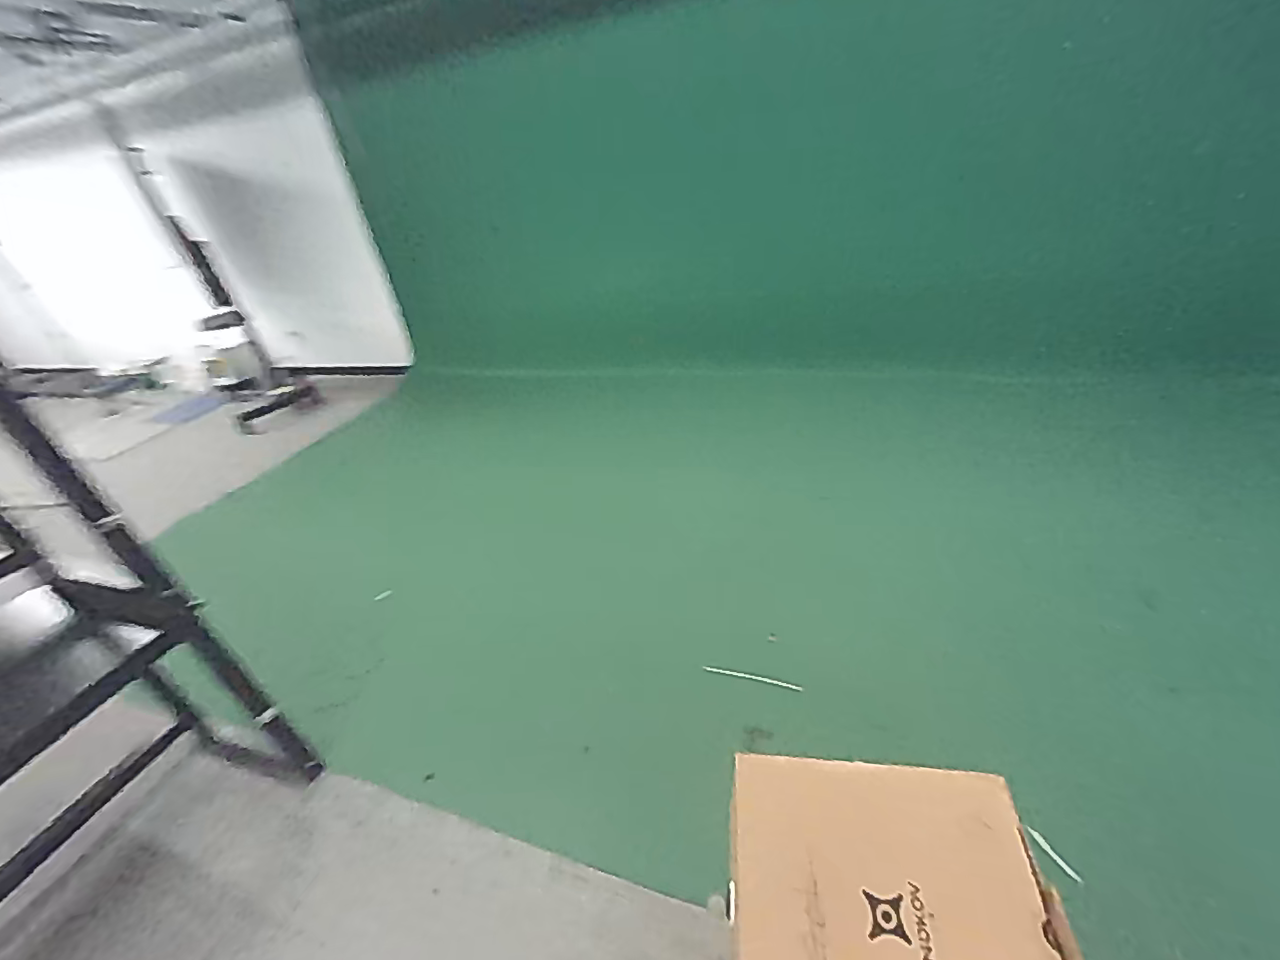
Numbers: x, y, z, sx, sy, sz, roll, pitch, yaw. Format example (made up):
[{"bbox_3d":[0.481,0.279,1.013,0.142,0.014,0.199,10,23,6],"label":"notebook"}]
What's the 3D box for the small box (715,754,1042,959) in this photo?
[{"bbox_3d":[0.141,0.308,0.368,0.179,0.176,0.168,-1,43,7],"label":"small box"}]
